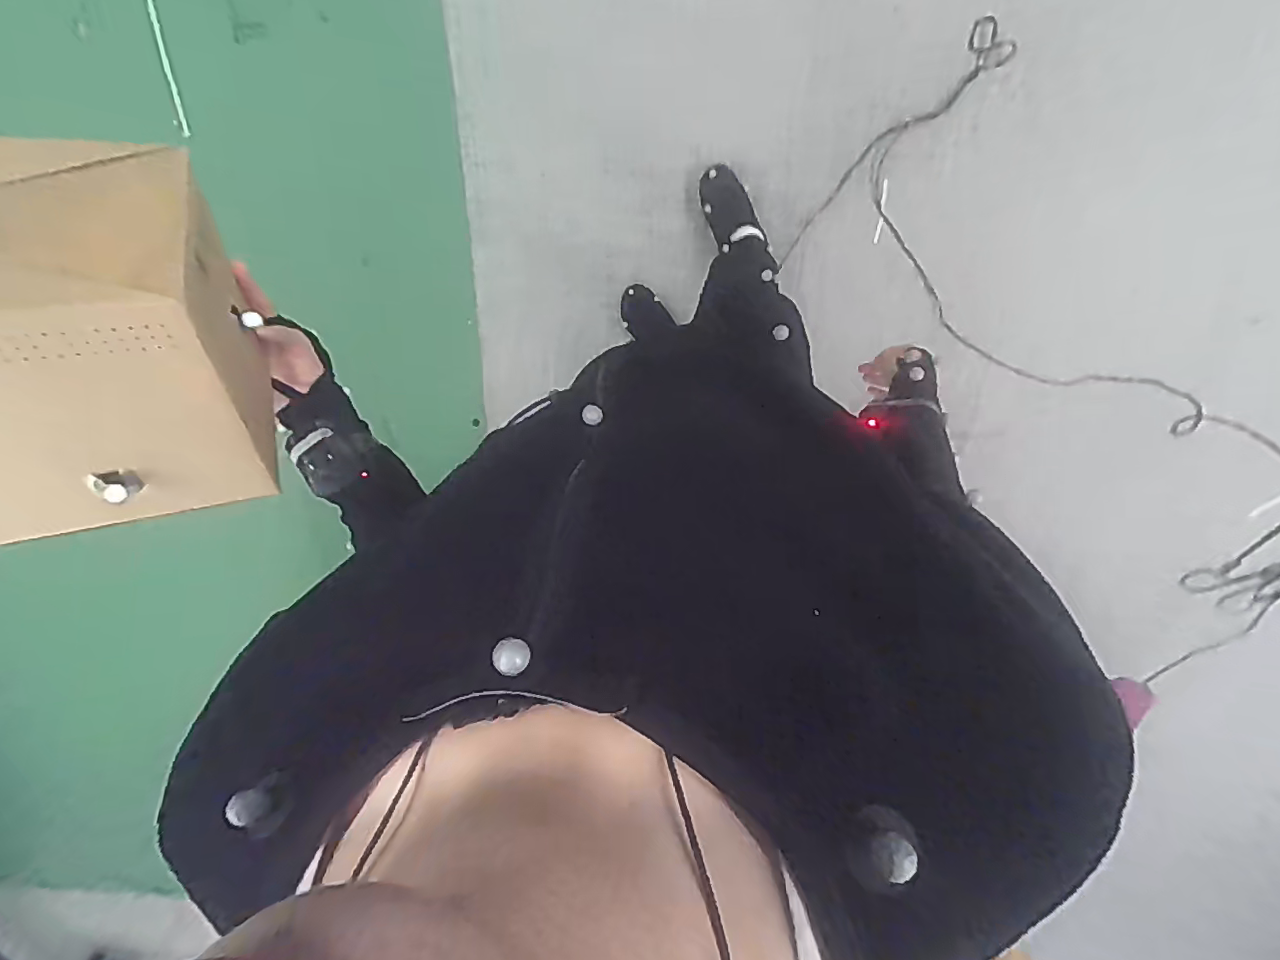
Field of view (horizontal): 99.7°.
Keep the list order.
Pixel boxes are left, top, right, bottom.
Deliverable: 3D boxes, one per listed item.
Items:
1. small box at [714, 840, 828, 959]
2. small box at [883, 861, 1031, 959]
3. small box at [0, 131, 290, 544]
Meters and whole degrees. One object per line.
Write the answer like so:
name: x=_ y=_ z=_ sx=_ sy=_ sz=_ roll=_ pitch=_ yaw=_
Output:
small box: x=0.246 y=0.841 z=1.059 sx=0.179 sy=0.176 sz=0.168 roll=2 pitch=112 yaw=1
small box: x=0.614 y=0.888 z=1.058 sx=0.179 sy=0.176 sz=0.168 roll=14 pitch=113 yaw=-2
small box: x=-0.341 y=-0.088 z=0.325 sx=0.179 sy=0.168 sz=0.176 roll=-13 pitch=148 yaw=-25
